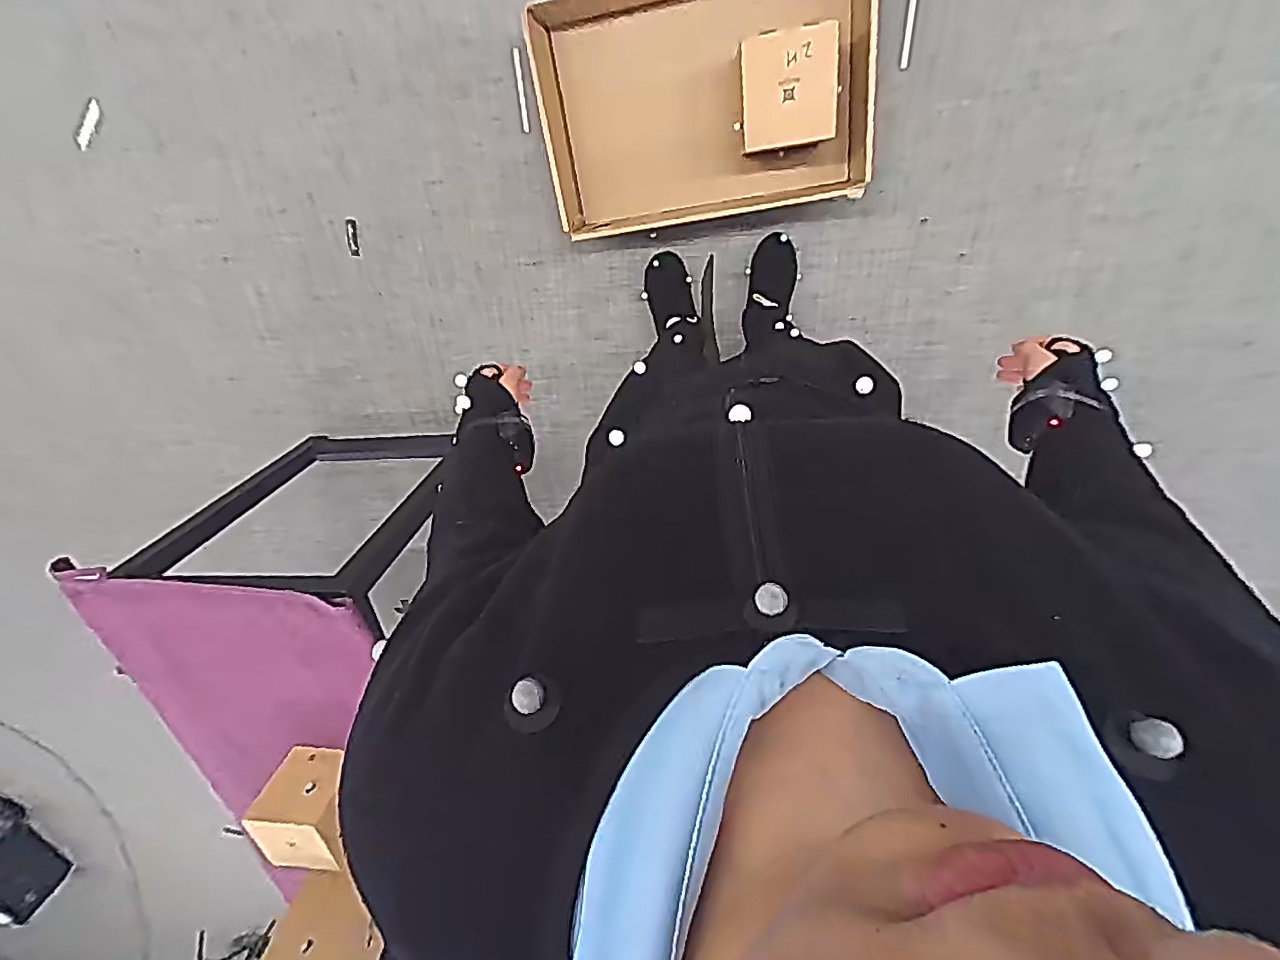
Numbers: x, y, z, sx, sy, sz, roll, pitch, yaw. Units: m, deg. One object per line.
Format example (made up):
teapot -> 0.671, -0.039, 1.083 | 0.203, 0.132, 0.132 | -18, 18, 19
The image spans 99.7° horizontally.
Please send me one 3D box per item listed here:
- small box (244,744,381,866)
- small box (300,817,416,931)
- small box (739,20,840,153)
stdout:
small box -> -0.705, 0.708, 1.188 | 0.168, 0.176, 0.179 | 0, 120, 7
small box -> -0.676, 0.957, 1.323 | 0.168, 0.176, 0.179 | -1, 118, 7
small box -> 0.277, -0.735, 1.032 | 0.168, 0.176, 0.179 | -4, 118, 9
